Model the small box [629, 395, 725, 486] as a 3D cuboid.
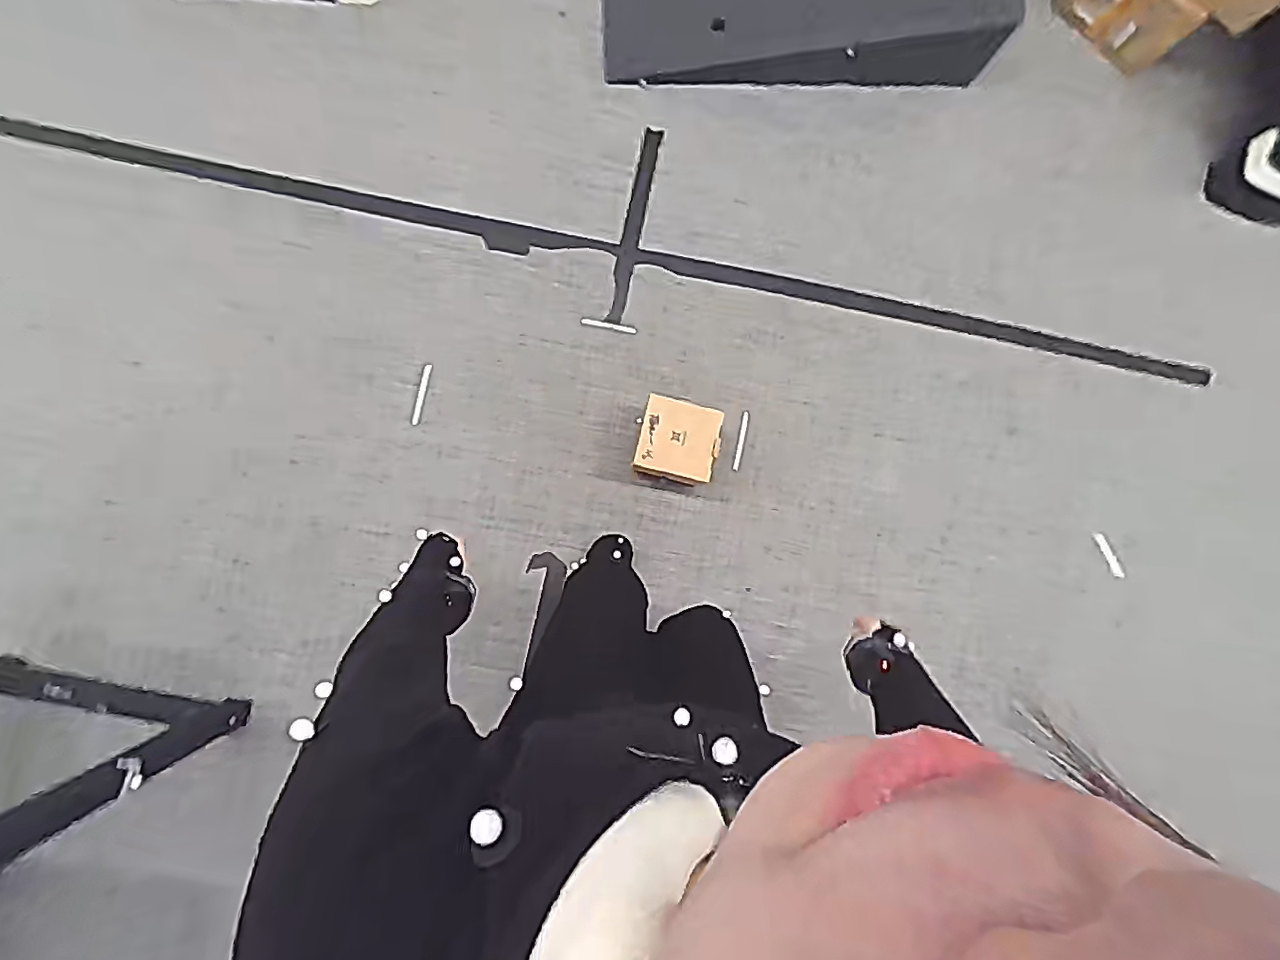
[{"bbox_3d":[0.081,-0.086,1.275,0.179,0.176,0.168,15,86,-4],"label":"small box"}]
